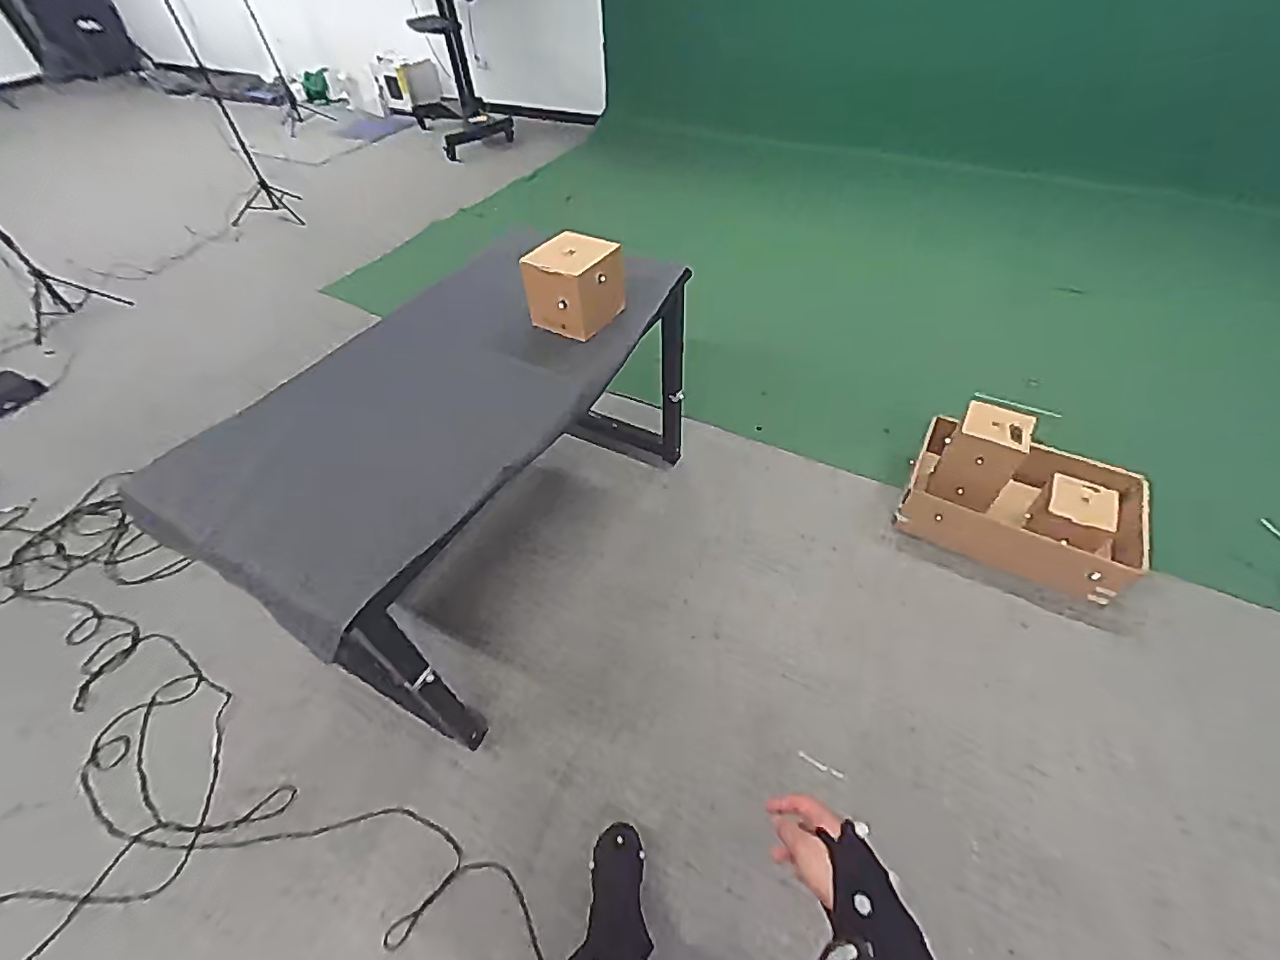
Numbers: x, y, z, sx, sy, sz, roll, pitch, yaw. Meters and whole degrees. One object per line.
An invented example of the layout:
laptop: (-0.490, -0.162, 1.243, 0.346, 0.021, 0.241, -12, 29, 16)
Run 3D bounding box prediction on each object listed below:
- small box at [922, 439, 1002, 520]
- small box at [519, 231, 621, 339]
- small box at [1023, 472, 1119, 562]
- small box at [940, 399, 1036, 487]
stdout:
small box: (1.030, 0.002, 1.723, 0.179, 0.176, 0.168, 23, 55, 20)
small box: (-0.154, -0.460, 1.282, 0.168, 0.176, 0.179, 24, 53, 22)
small box: (1.281, 0.114, 1.615, 0.168, 0.176, 0.179, 24, 55, 23)
small box: (1.023, -0.103, 1.597, 0.179, 0.176, 0.168, 23, 54, 22)
